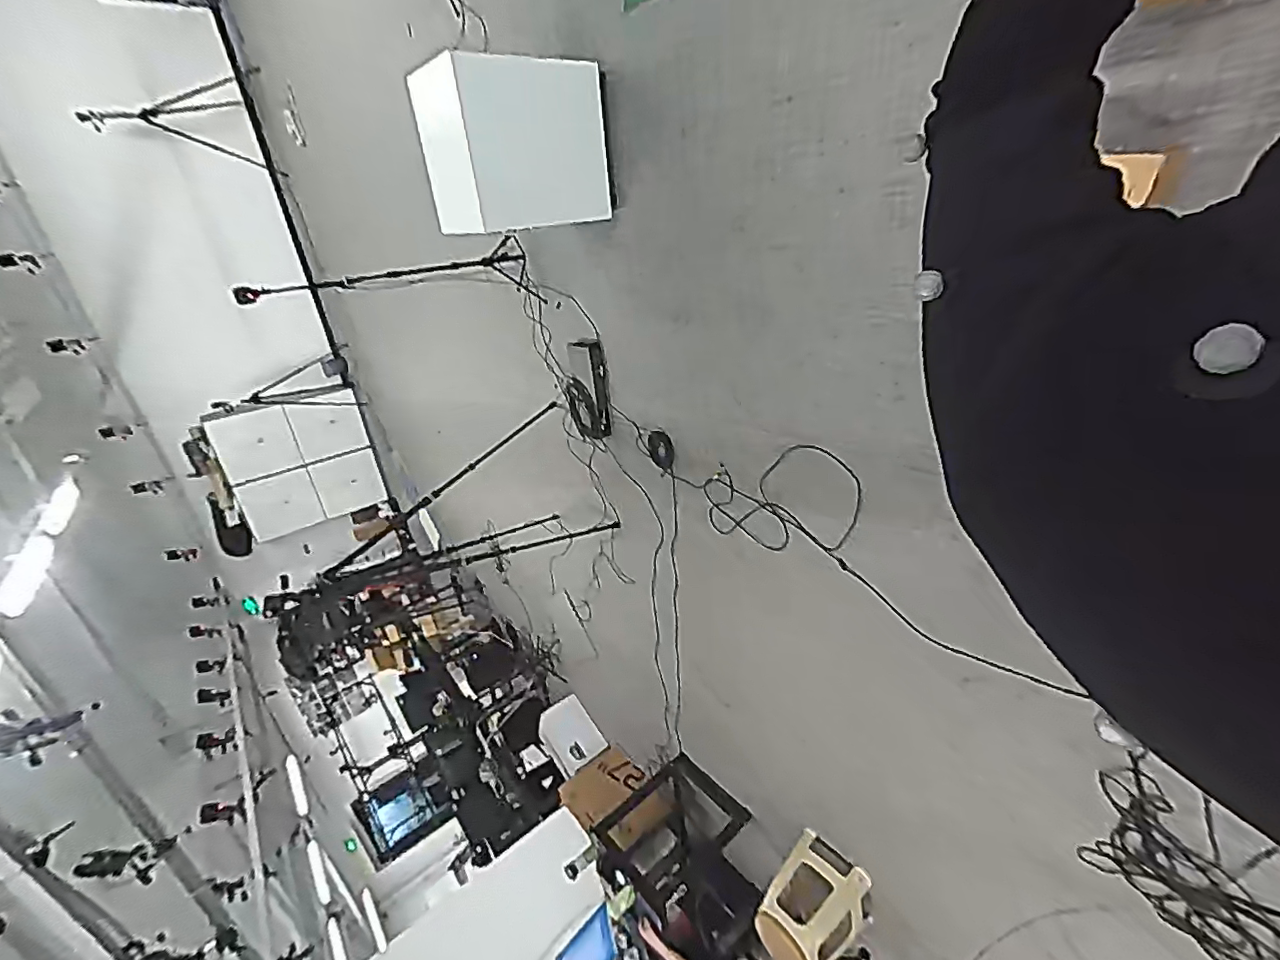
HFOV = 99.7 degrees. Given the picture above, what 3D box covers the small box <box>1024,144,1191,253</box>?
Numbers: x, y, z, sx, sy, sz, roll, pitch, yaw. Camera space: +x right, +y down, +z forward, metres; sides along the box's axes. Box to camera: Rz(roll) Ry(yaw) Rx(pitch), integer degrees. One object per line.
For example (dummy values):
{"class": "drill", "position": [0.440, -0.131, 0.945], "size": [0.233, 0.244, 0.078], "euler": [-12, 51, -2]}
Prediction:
{"class": "small box", "position": [0.880, -0.535, 1.020], "size": [0.179, 0.176, 0.168], "euler": [32, 134, 43]}
